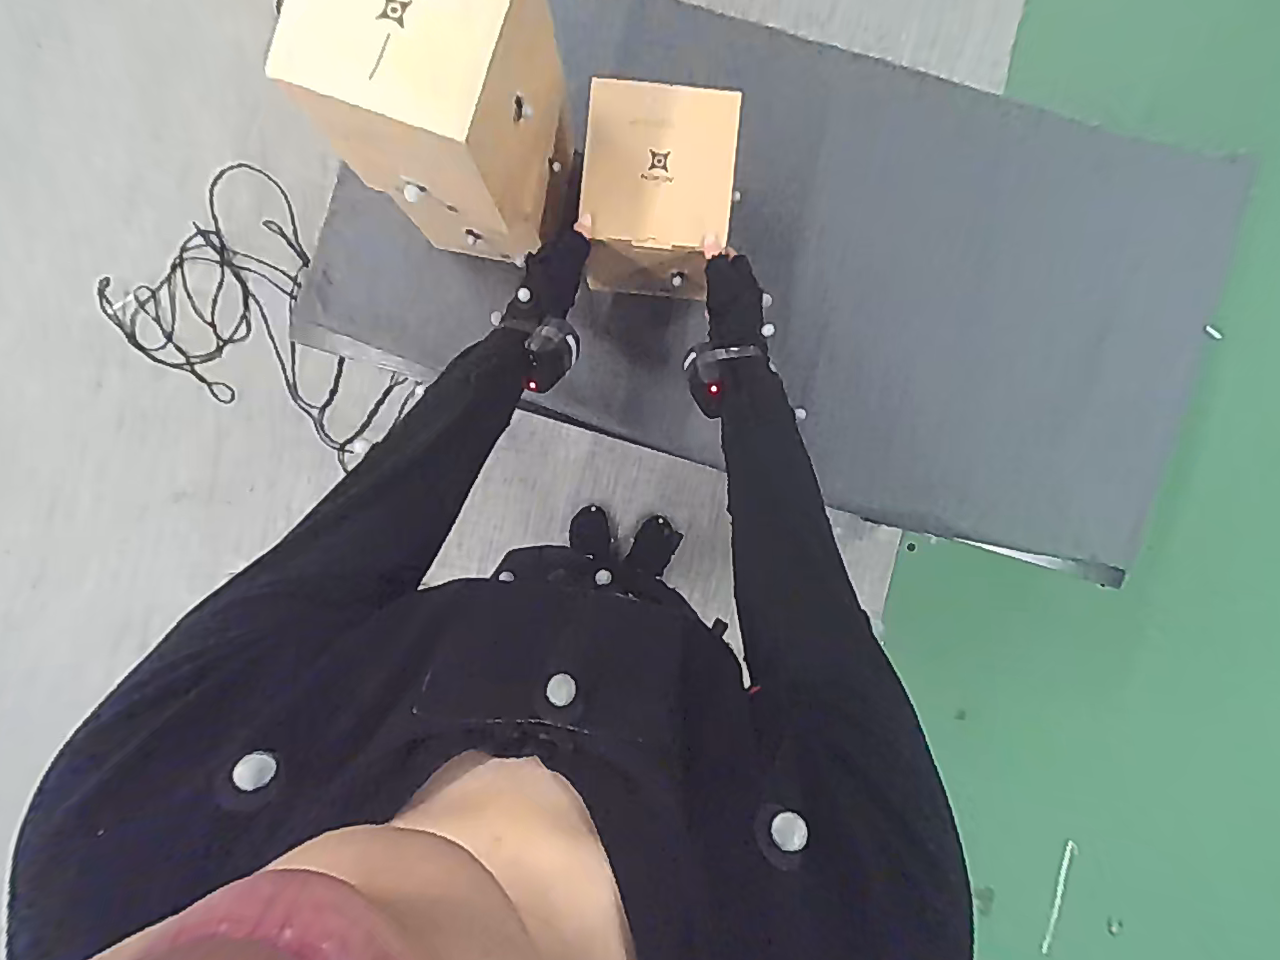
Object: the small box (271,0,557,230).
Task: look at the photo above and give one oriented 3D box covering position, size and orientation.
[{"bbox_3d":[-0.182,-0.369,0.496,0.168,0.176,0.179,19,91,-1],"label":"small box"}]
